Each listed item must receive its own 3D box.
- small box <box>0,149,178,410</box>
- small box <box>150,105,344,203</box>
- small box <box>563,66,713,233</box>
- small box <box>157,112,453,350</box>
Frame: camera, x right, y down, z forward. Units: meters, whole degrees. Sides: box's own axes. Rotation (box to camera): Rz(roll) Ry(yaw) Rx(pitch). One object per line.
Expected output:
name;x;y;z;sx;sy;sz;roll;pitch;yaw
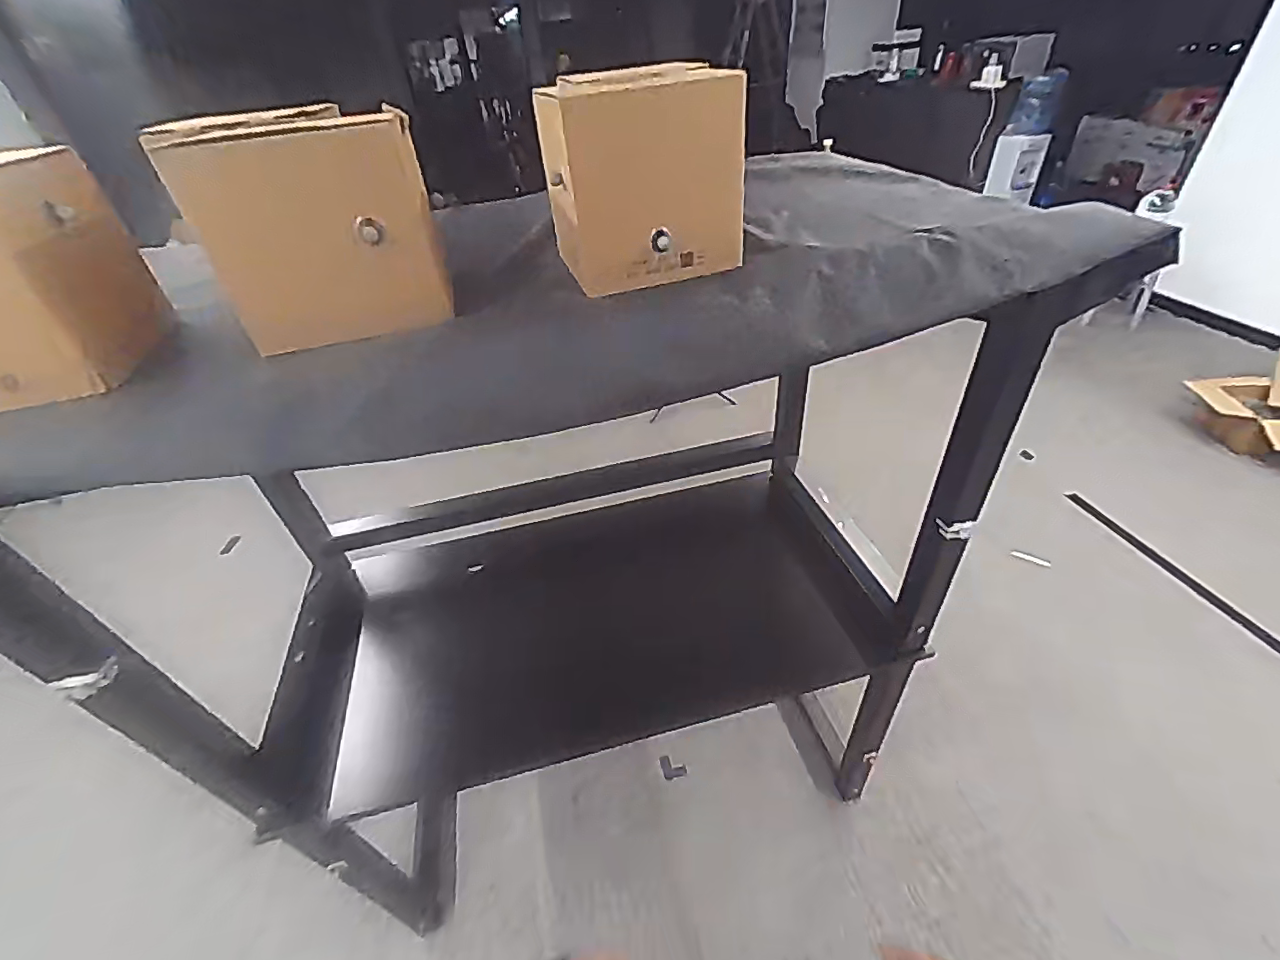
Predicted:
small box;-0.557;-0.173;0.468;0.168;0.176;0.179;-15;40;-11
small box;-0.438;-0.354;0.678;0.168;0.176;0.179;-12;39;-7
small box;-0.005;-0.452;0.740;0.168;0.176;0.179;-13;39;-7
small box;-0.286;-0.242;0.519;0.179;0.176;0.168;-13;37;-10
